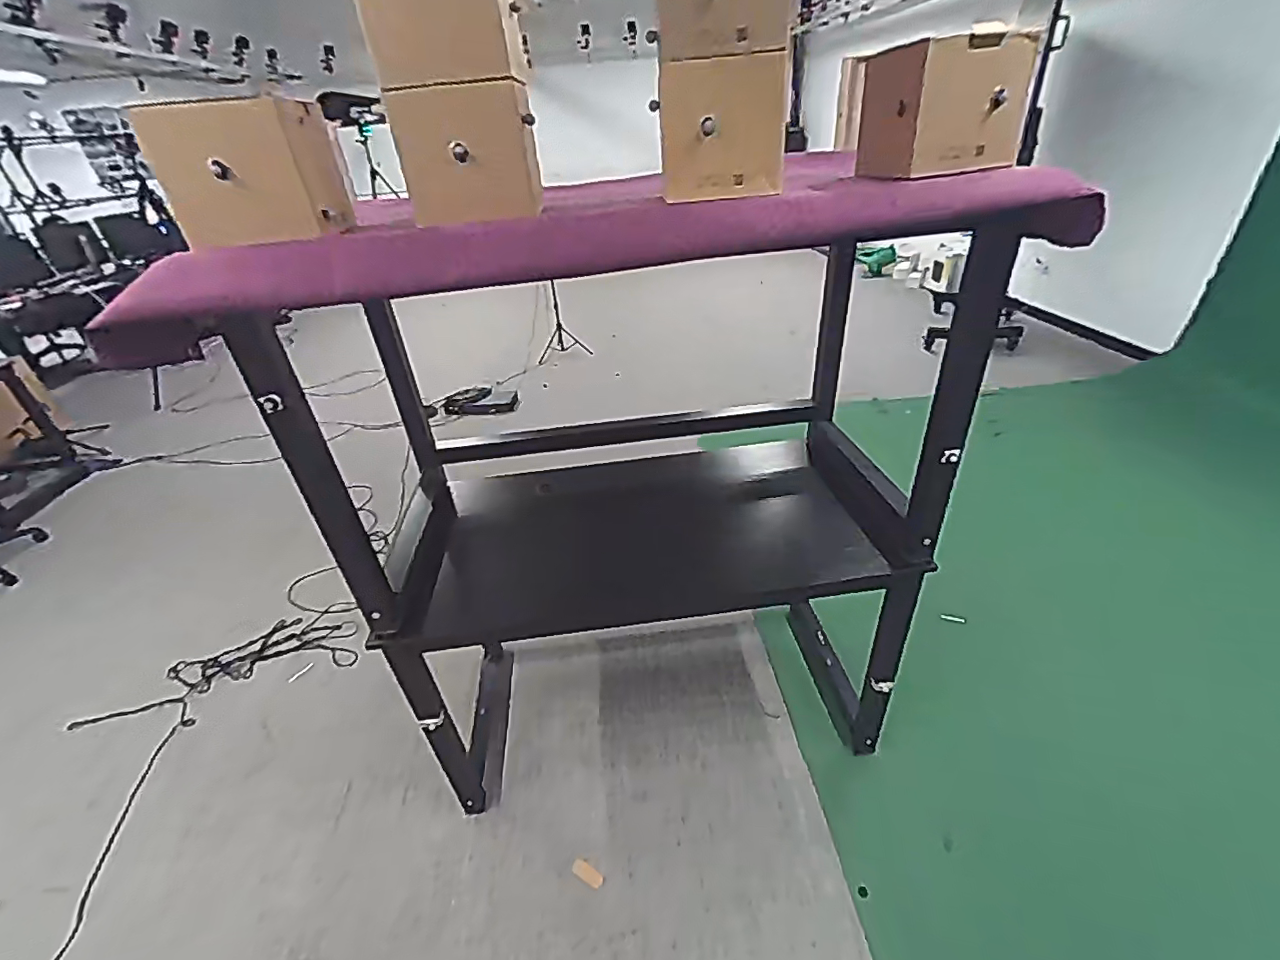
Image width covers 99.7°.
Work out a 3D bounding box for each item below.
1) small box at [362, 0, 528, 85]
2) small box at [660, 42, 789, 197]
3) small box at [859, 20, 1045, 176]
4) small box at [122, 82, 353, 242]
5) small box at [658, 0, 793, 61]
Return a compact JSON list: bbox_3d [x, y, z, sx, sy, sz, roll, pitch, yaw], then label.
[{"bbox_3d":[-0.252,-0.631,0.710,0.179,0.176,0.168,-5,33,0],"label":"small box"},{"bbox_3d":[0.118,-0.523,0.803,0.168,0.176,0.179,-4,31,2],"label":"small box"},{"bbox_3d":[0.457,-0.568,0.824,0.168,0.176,0.179,-8,31,-4],"label":"small box"},{"bbox_3d":[-0.530,-0.440,0.751,0.179,0.176,0.168,-8,33,-5],"label":"small box"},{"bbox_3d":[0.108,-0.663,0.718,0.168,0.176,0.179,-3,32,3],"label":"small box"}]
